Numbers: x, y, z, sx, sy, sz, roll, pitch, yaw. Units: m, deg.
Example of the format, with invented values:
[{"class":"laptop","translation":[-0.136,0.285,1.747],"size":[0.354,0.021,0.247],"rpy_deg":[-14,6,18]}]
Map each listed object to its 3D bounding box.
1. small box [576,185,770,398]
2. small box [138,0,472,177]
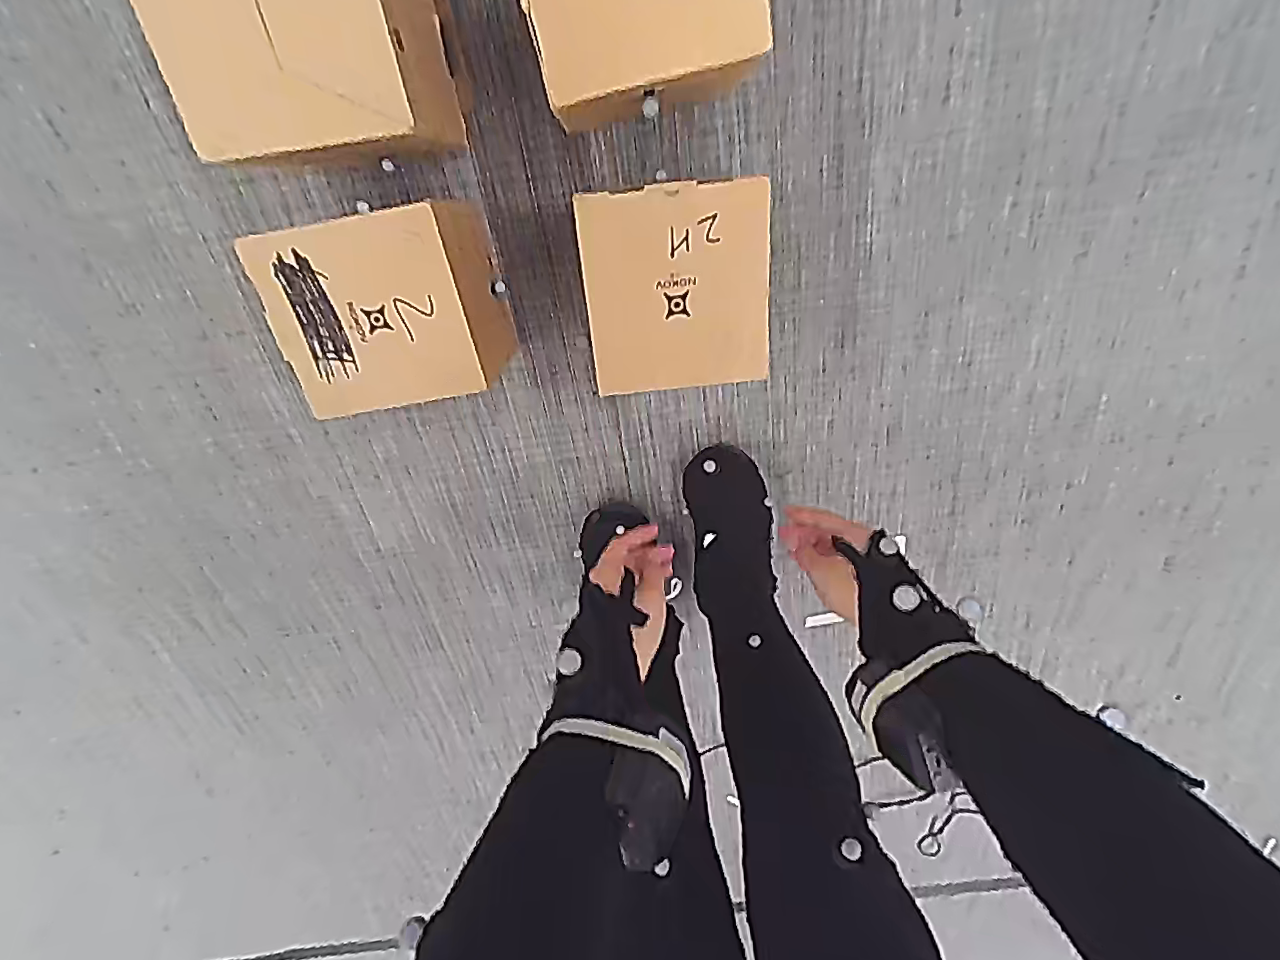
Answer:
[{"class":"small box","translation":[0.031,-0.200,0.559],"size":[0.168,0.176,0.179],"rpy_deg":[-6,117,0]},{"class":"small box","translation":[-0.269,-0.367,0.462],"size":[0.179,0.176,0.168],"rpy_deg":[-7,116,2]}]
